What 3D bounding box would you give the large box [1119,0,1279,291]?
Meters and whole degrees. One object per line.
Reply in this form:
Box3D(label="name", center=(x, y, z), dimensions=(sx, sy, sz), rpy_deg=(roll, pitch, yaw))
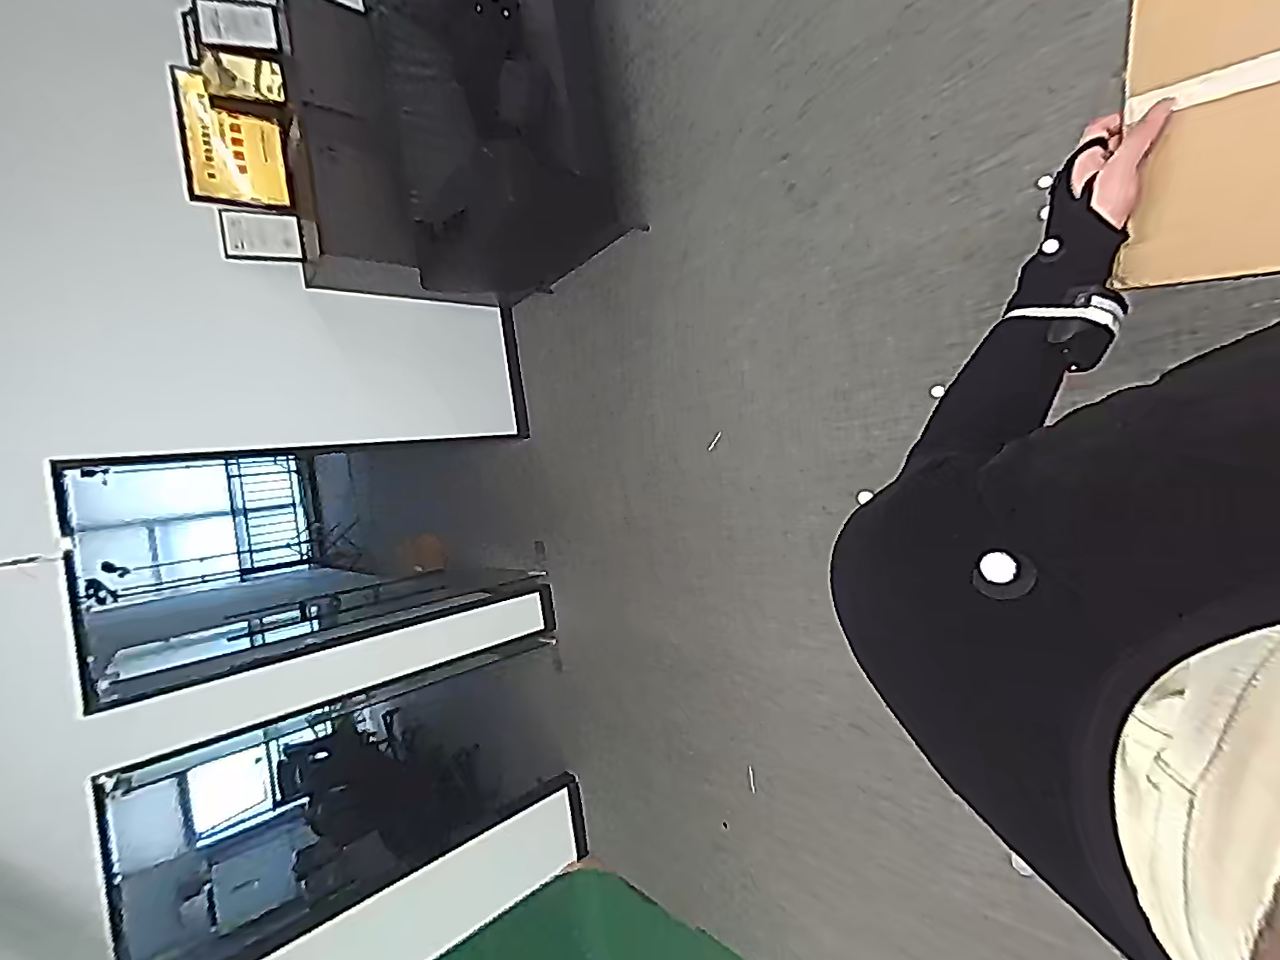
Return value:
Box3D(label="large box", center=(0.697, -0.355, 0.457), dimensions=(0.408, 0.320, 0.320), rpy_deg=(7, 109, 47))
